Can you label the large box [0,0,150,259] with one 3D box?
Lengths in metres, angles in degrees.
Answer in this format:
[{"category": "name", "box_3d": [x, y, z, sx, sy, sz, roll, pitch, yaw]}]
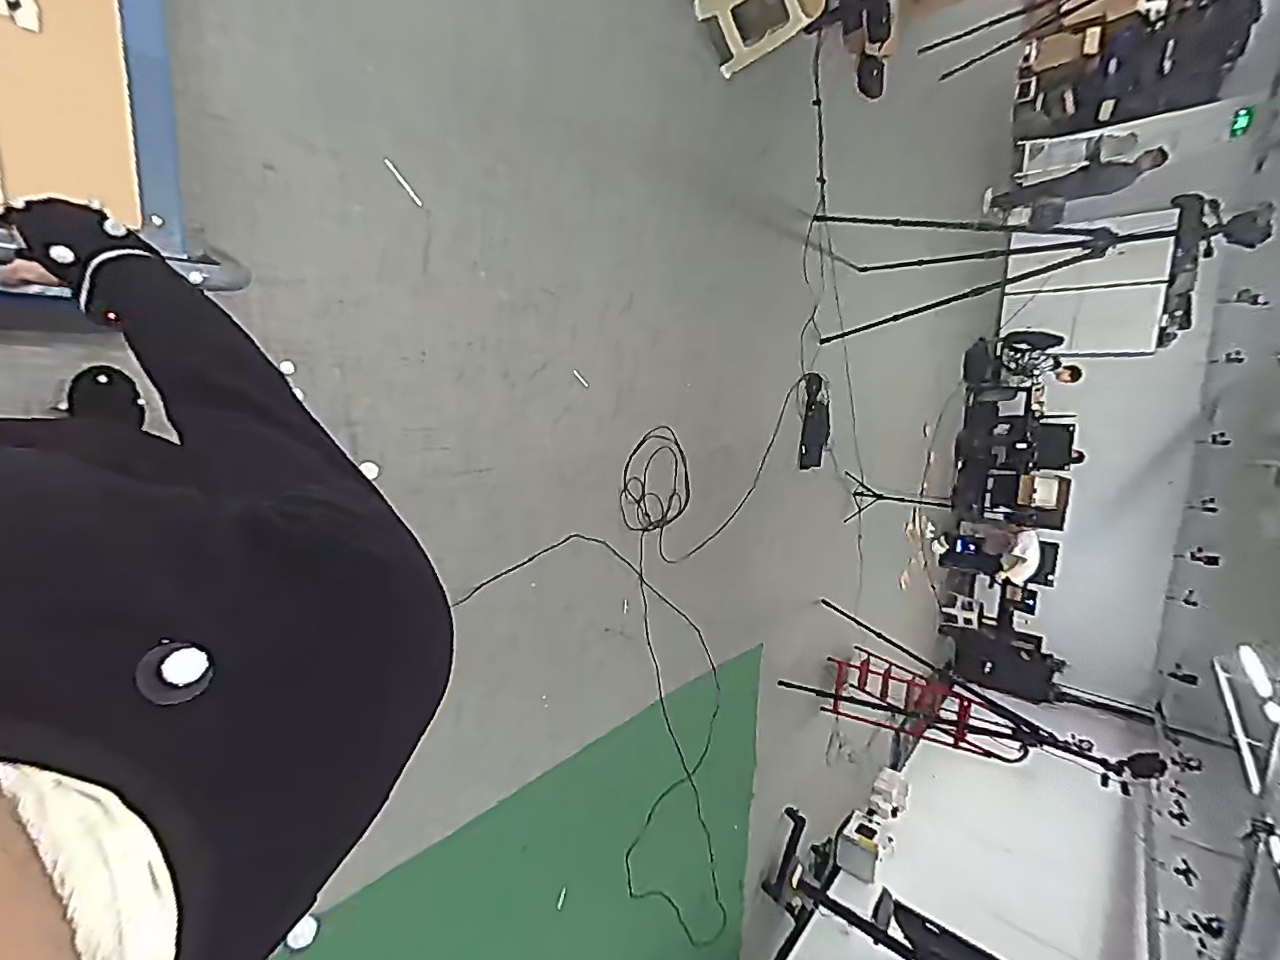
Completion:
[{"category": "large box", "box_3d": [-0.979, -0.584, 0.804, 0.320, 0.320, 0.408, -9, 103, -48]}]
